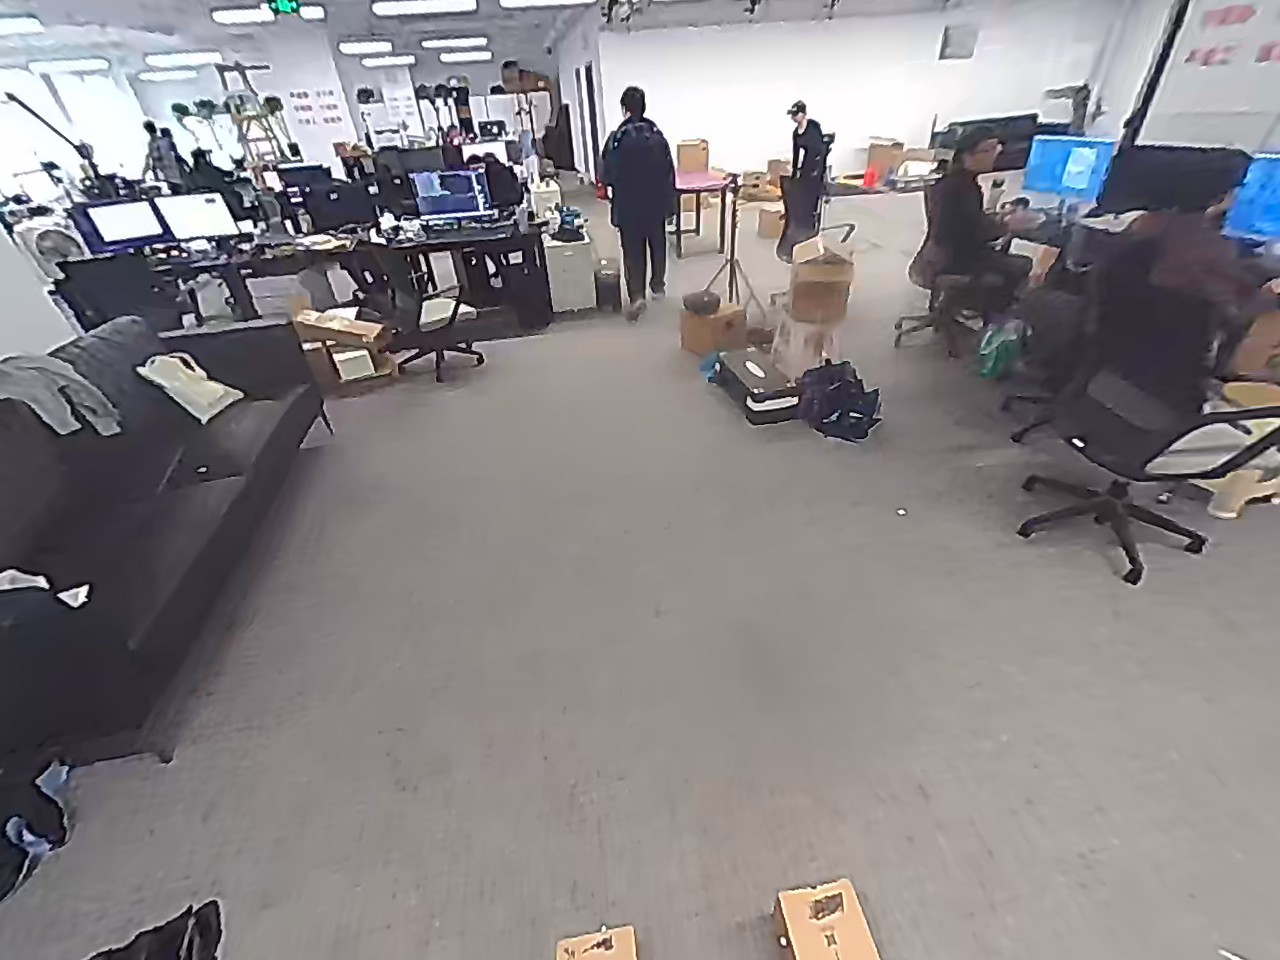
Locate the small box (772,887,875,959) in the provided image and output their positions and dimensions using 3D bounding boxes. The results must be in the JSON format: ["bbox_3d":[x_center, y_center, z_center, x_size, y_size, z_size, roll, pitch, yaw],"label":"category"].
[{"bbox_3d":[0.388,1.009,1.146,0.168,0.176,0.179,-8,36,-4],"label":"small box"}]

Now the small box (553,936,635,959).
[{"bbox_3d":[-0.082,1.076,1.099,0.168,0.176,0.179,-7,34,-5],"label":"small box"}]
